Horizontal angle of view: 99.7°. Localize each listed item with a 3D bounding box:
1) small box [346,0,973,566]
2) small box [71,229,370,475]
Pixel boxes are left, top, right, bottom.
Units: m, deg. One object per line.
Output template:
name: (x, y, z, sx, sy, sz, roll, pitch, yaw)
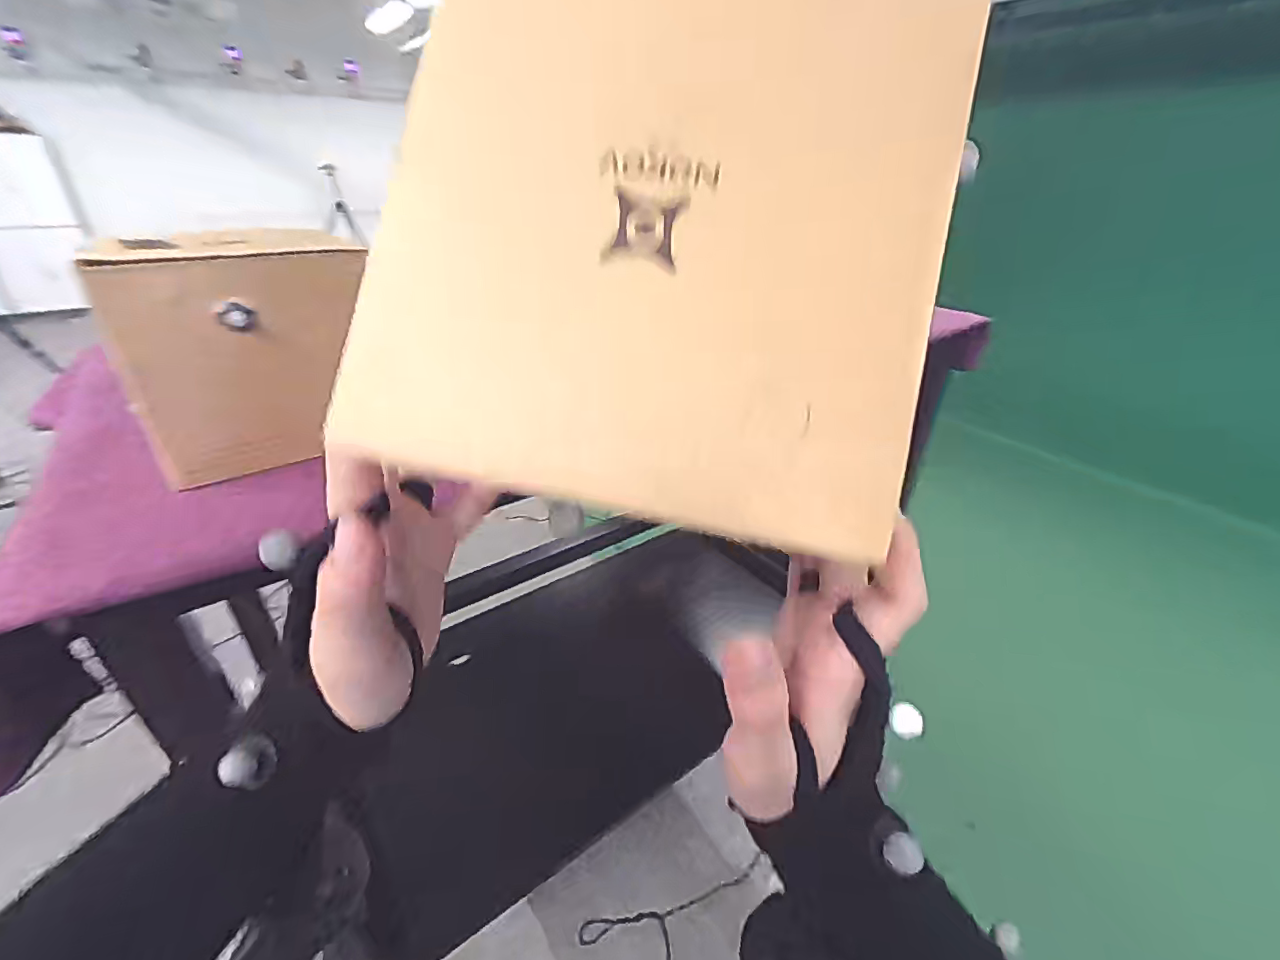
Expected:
small box: (0.012, -0.068, 0.245, 0.168, 0.179, 0.176, 12, -5, 8)
small box: (-0.343, -0.122, 0.480, 0.179, 0.176, 0.168, -21, 36, -35)
